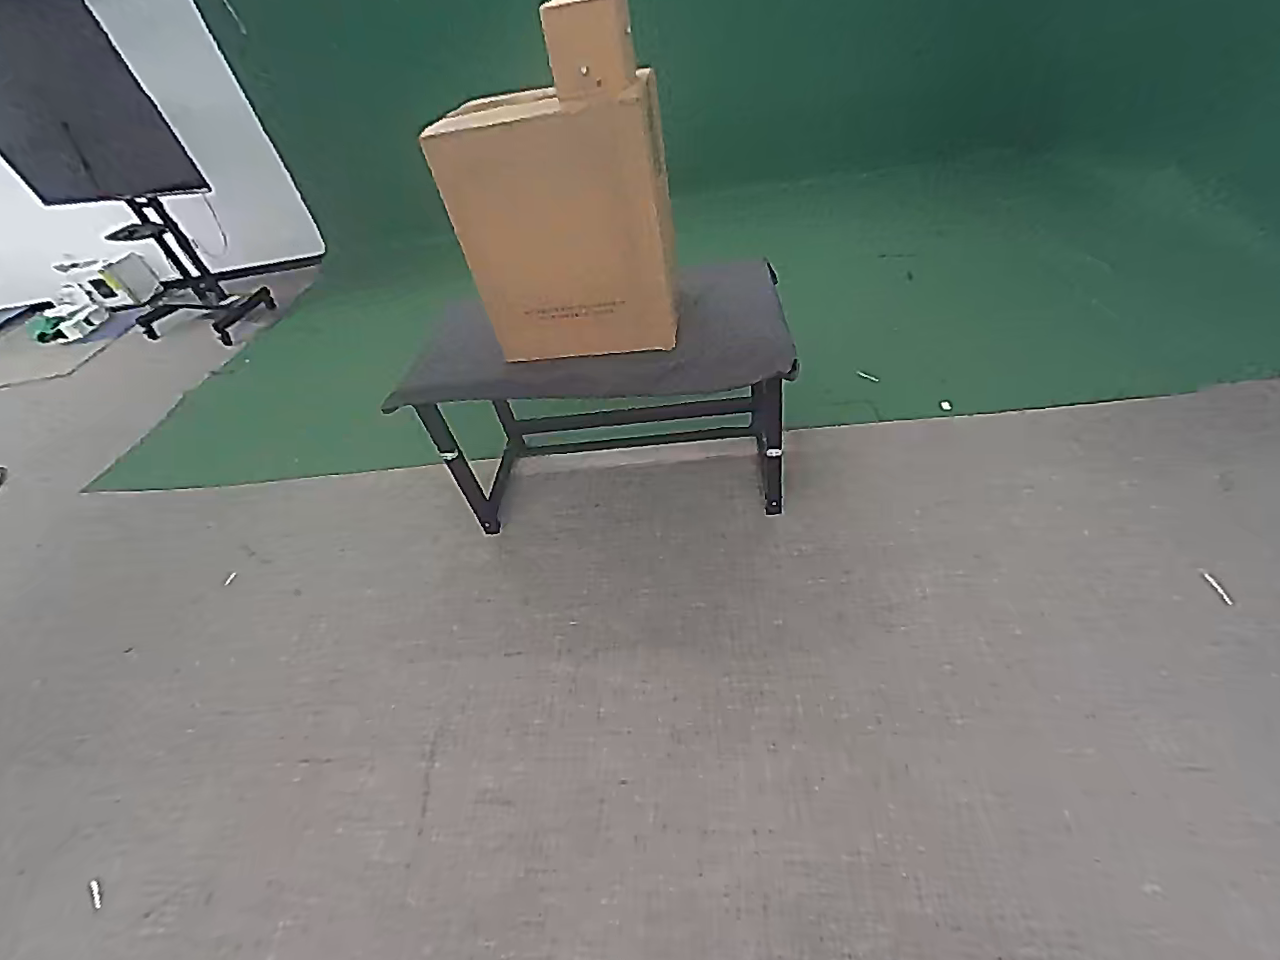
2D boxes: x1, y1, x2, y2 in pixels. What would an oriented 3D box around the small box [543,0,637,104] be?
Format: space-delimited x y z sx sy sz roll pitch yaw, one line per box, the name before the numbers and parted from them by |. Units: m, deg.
small box | -0.105 -0.988 1.241 0.168 0.176 0.179 -1 47 11
